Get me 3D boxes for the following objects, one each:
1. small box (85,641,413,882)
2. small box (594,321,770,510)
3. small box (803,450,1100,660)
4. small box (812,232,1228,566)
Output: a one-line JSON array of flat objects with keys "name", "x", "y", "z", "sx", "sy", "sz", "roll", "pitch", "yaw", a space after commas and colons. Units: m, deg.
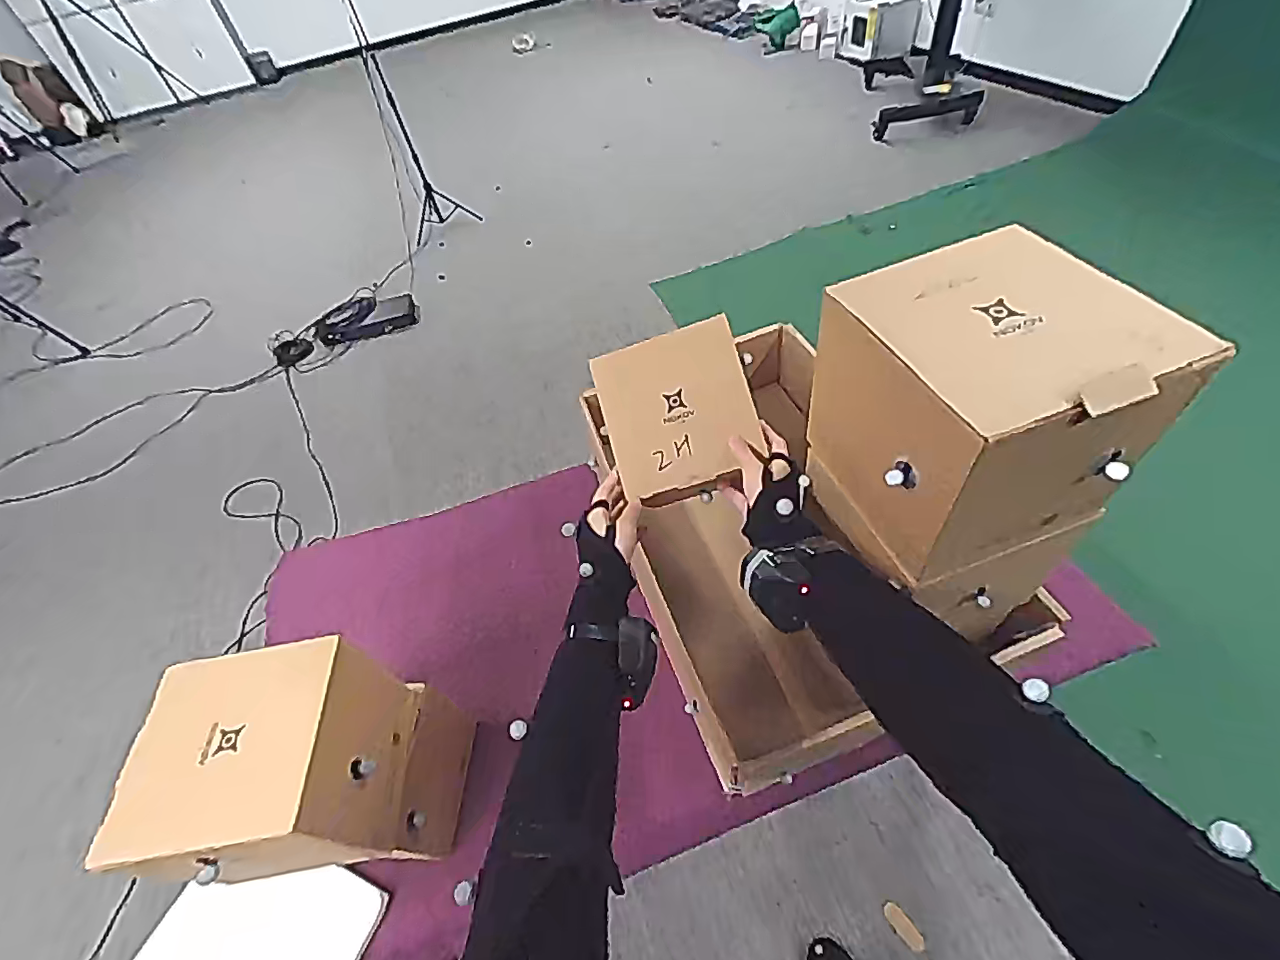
[{"name": "small box", "x": -0.348, "y": 0.280, "z": 0.531, "sx": 0.179, "sy": 0.176, "sz": 0.168, "roll": -11, "pitch": 50, "yaw": 2}, {"name": "small box", "x": 0.058, "y": -0.067, "z": 0.682, "sx": 0.168, "sy": 0.176, "sz": 0.179, "roll": -16, "pitch": 82, "yaw": 10}, {"name": "small box", "x": 0.281, "y": 0.052, "z": 0.540, "sx": 0.179, "sy": 0.176, "sz": 0.168, "roll": -20, "pitch": 50, "yaw": -4}, {"name": "small box", "x": 0.251, "y": -0.054, "z": 0.419, "sx": 0.168, "sy": 0.176, "sz": 0.179, "roll": -19, "pitch": 50, "yaw": -5}]
